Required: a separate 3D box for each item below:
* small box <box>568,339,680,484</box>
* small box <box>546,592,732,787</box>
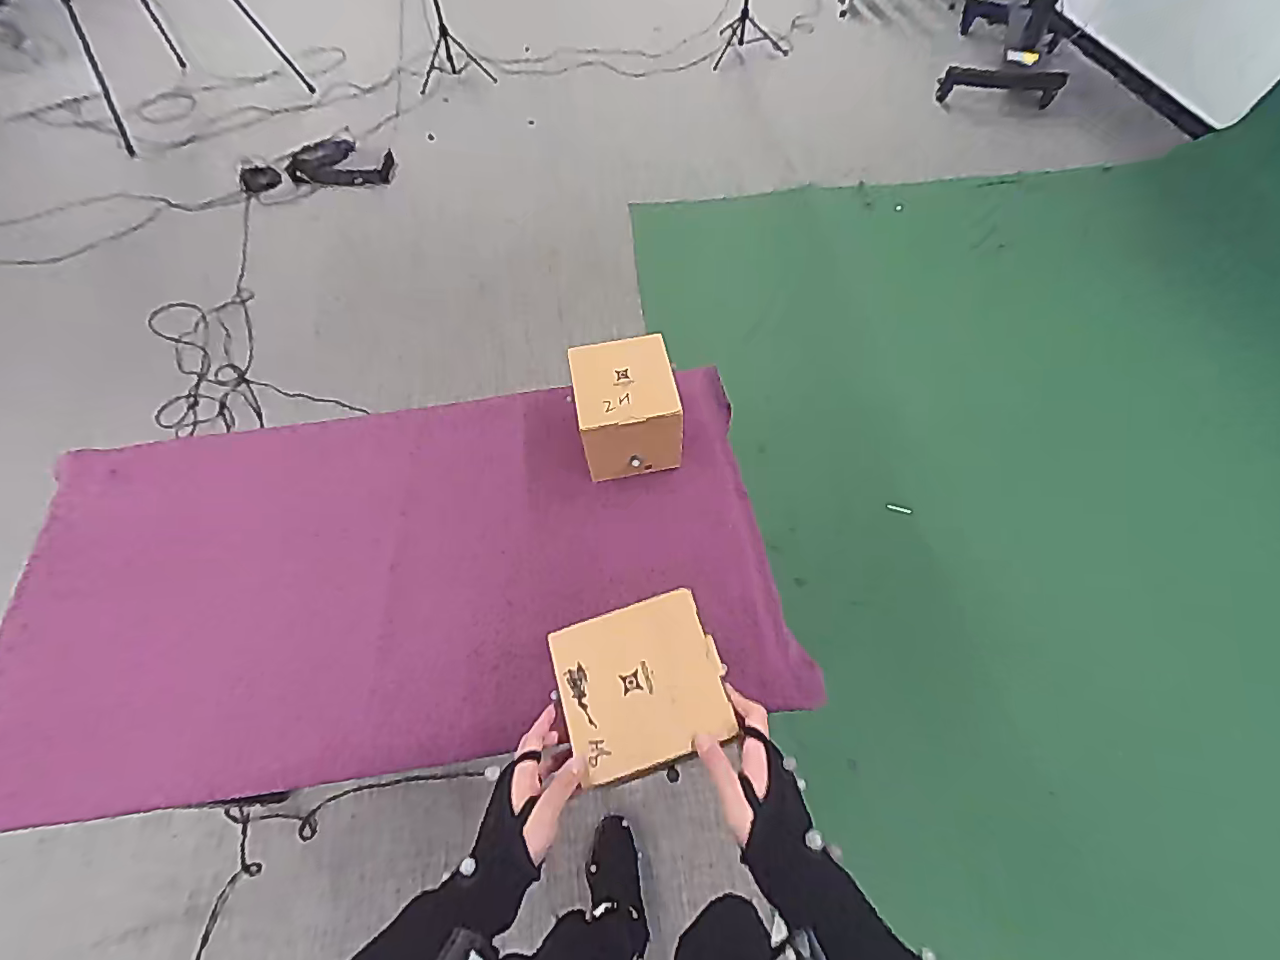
[{"bbox_3d":[-0.027,-0.117,0.958,0.168,0.176,0.179,-11,61,-1],"label":"small box"},{"bbox_3d":[0.001,0.262,0.668,0.179,0.176,0.168,-18,60,-2],"label":"small box"}]
